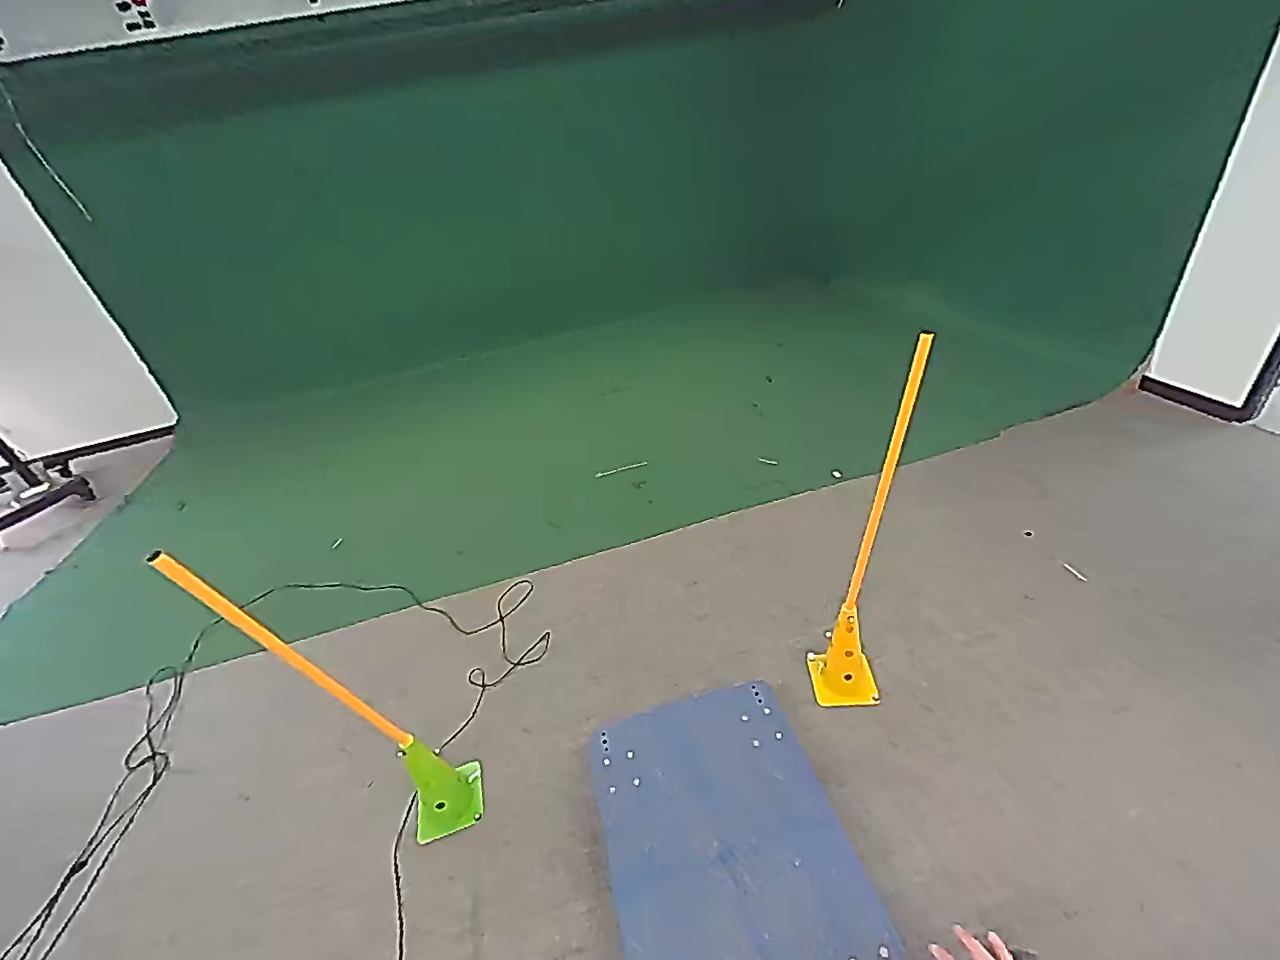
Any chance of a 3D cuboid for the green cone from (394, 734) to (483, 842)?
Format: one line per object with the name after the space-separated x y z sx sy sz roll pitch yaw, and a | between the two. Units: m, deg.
-0.626 0.862 1.598 0.202 0.368 0.200 -19 35 -9 | green cone
